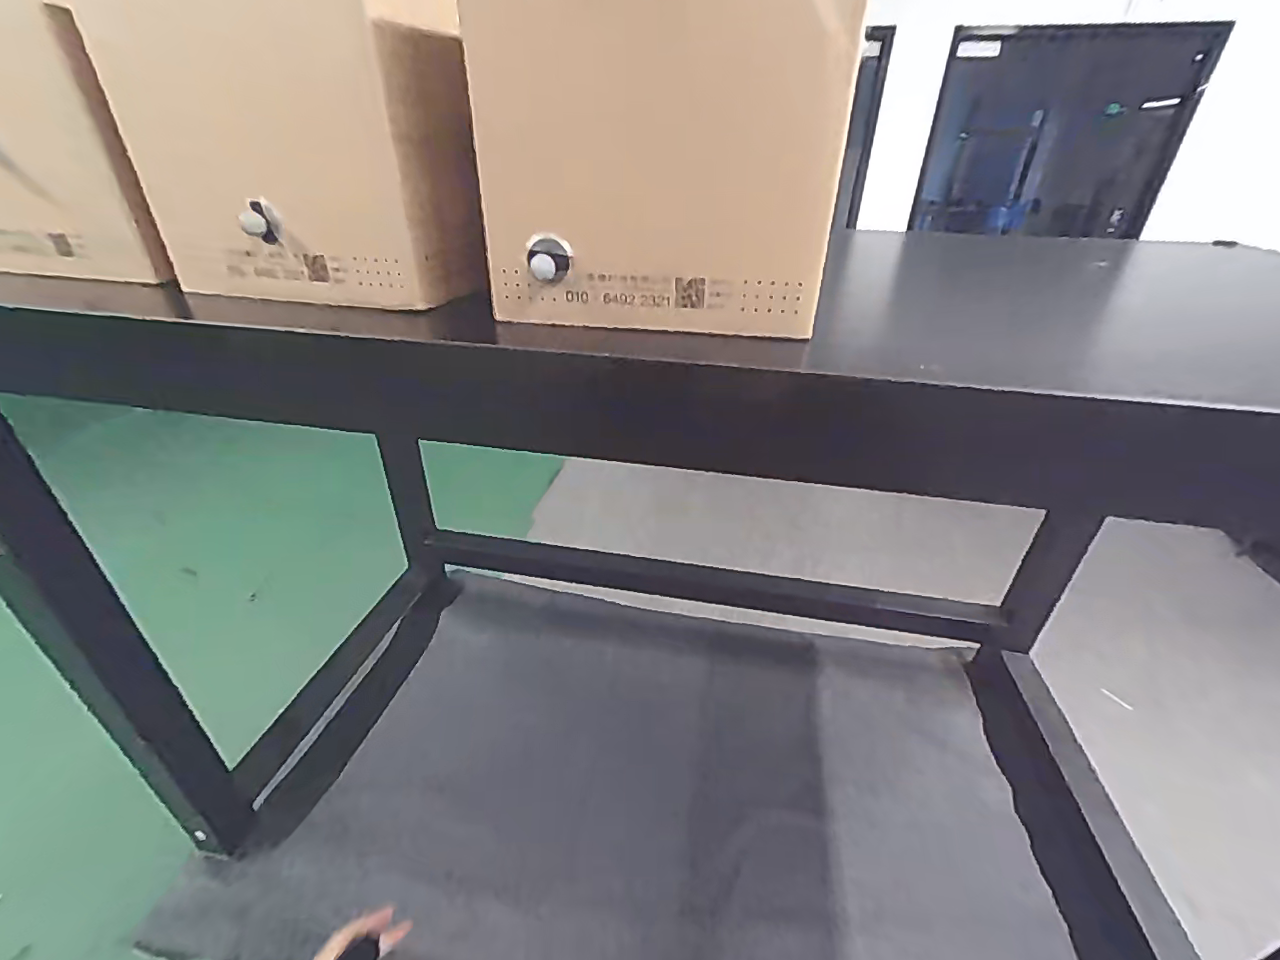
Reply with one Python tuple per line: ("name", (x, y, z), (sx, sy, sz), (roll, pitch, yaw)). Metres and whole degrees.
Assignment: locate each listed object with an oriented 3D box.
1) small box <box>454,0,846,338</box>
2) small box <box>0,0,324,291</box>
("small box", (0.016, -0.187, 0.315), (0.168, 0.176, 0.179), (5, 29, 7))
("small box", (-0.371, -0.242, 0.396), (0.168, 0.176, 0.179), (7, 30, 9))
